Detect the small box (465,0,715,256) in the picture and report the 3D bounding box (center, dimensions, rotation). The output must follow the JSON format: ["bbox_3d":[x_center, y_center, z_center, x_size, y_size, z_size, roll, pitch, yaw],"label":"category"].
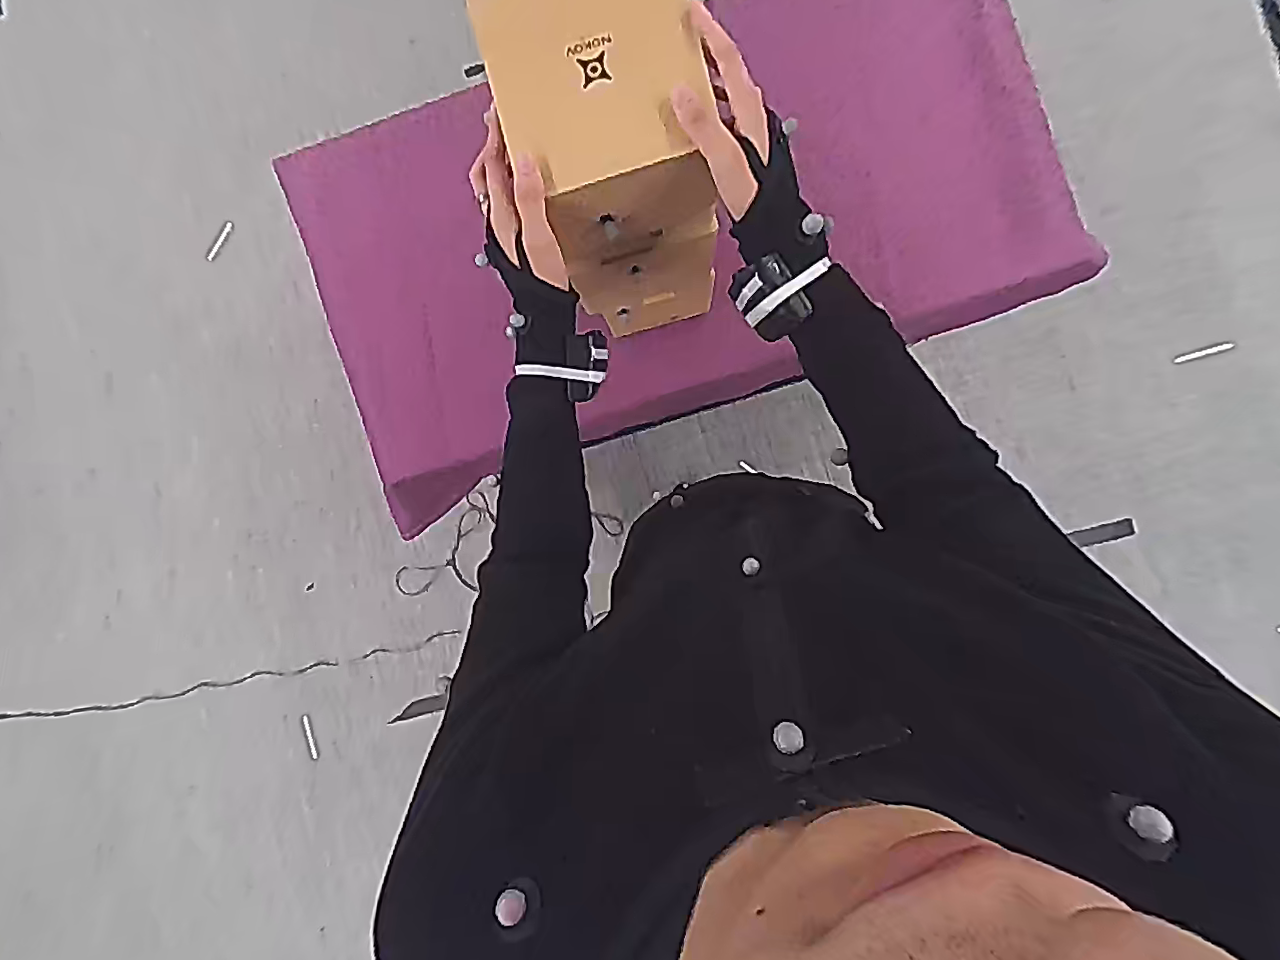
[{"bbox_3d":[-0.033,-0.325,0.492,0.168,0.176,0.179,-15,91,5],"label":"small box"}]

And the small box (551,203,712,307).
[{"bbox_3d":[-0.018,-0.327,0.654,0.179,0.176,0.168,-14,92,4],"label":"small box"}]
